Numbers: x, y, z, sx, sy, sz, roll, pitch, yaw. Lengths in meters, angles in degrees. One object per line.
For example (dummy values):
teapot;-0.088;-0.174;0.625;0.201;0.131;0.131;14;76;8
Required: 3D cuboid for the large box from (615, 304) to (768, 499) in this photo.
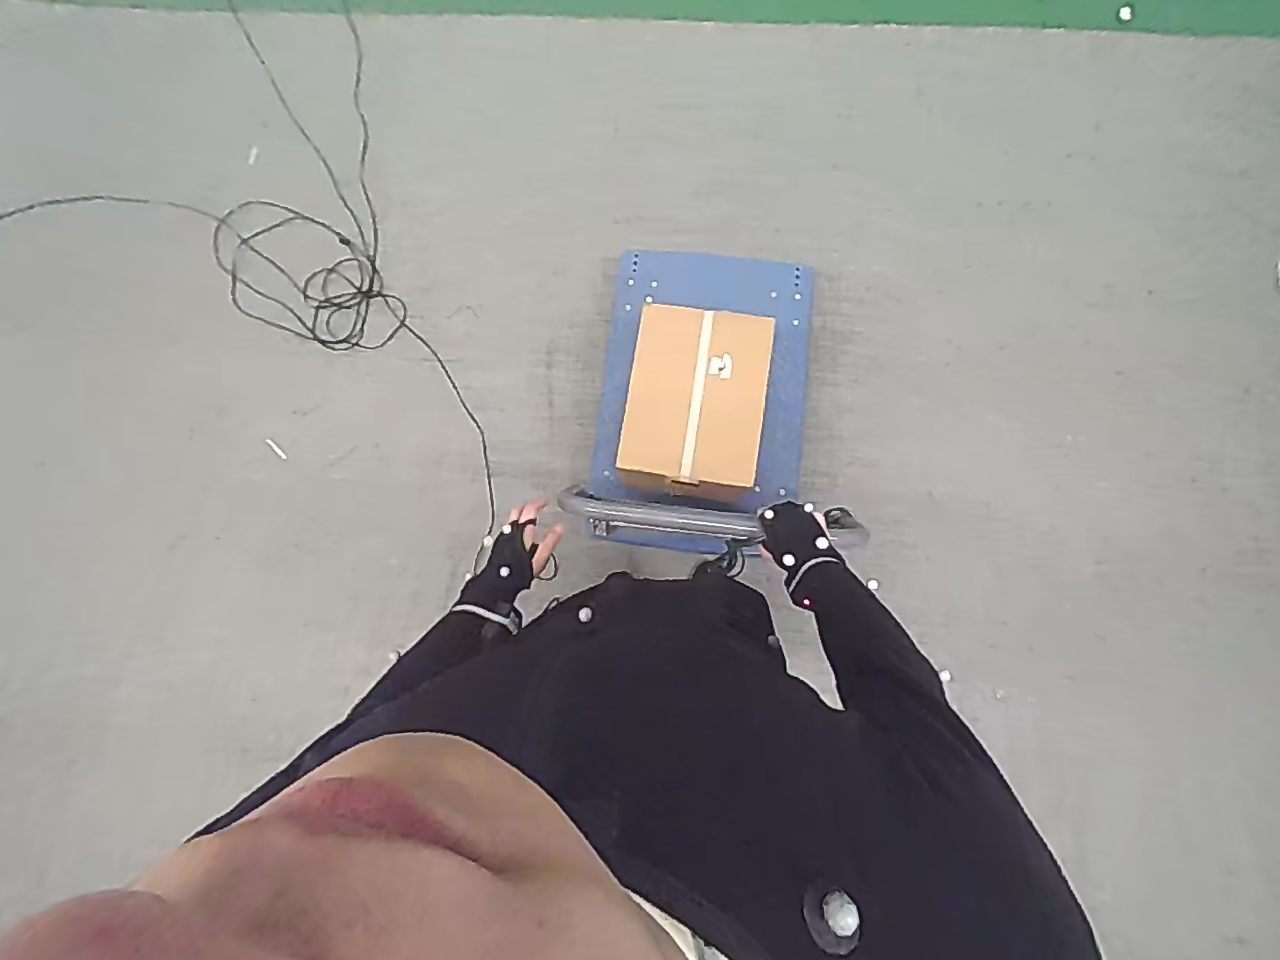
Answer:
large box;0.129;-0.180;1.387;0.320;0.320;0.408;9;81;3
